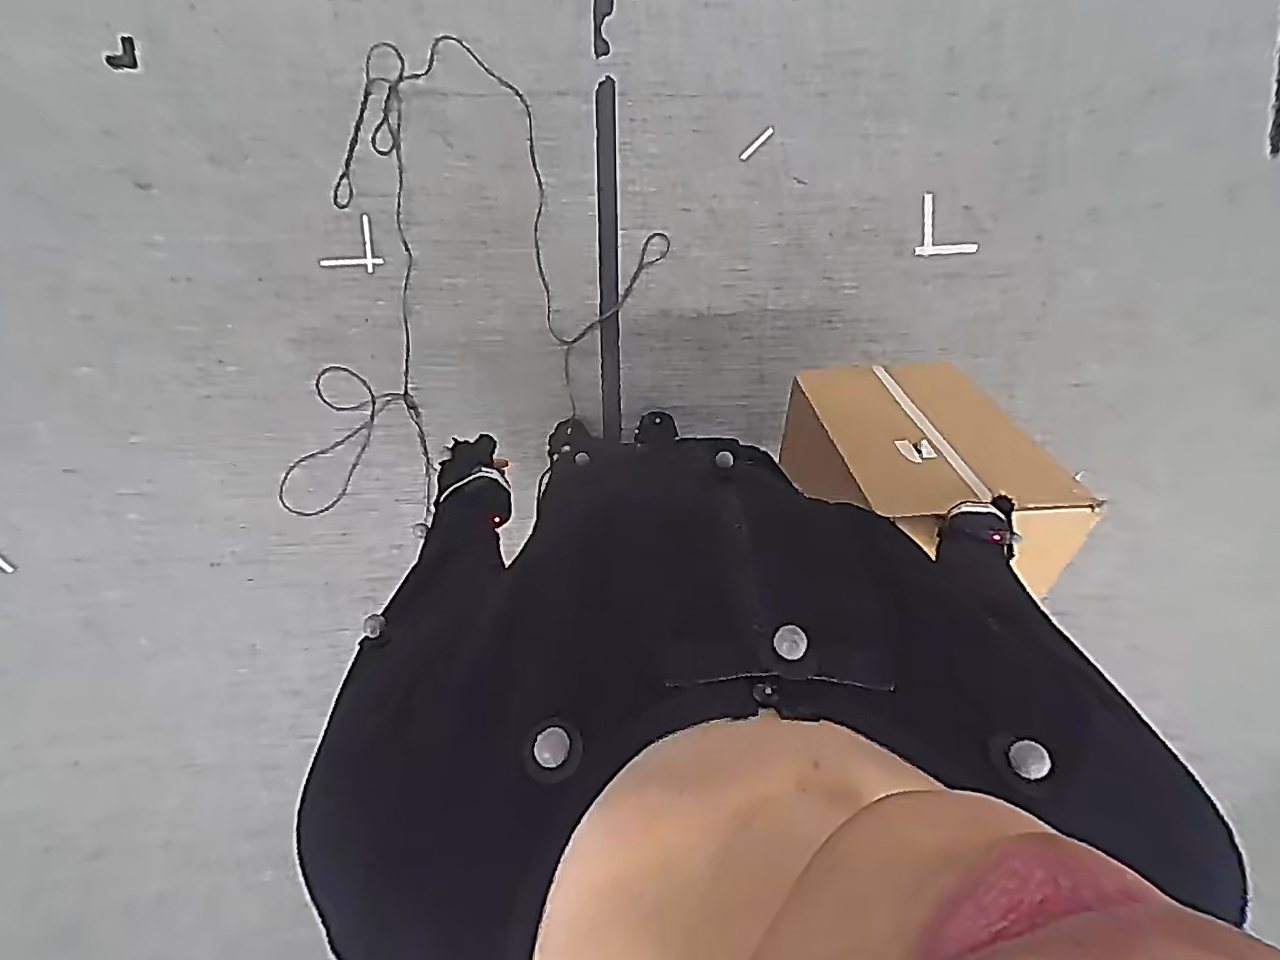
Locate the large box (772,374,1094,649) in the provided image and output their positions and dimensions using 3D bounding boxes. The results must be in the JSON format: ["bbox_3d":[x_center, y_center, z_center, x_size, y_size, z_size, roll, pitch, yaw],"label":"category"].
[{"bbox_3d":[0.462,0.042,0.984,0.320,0.408,0.320,-4,131,-3],"label":"large box"}]
